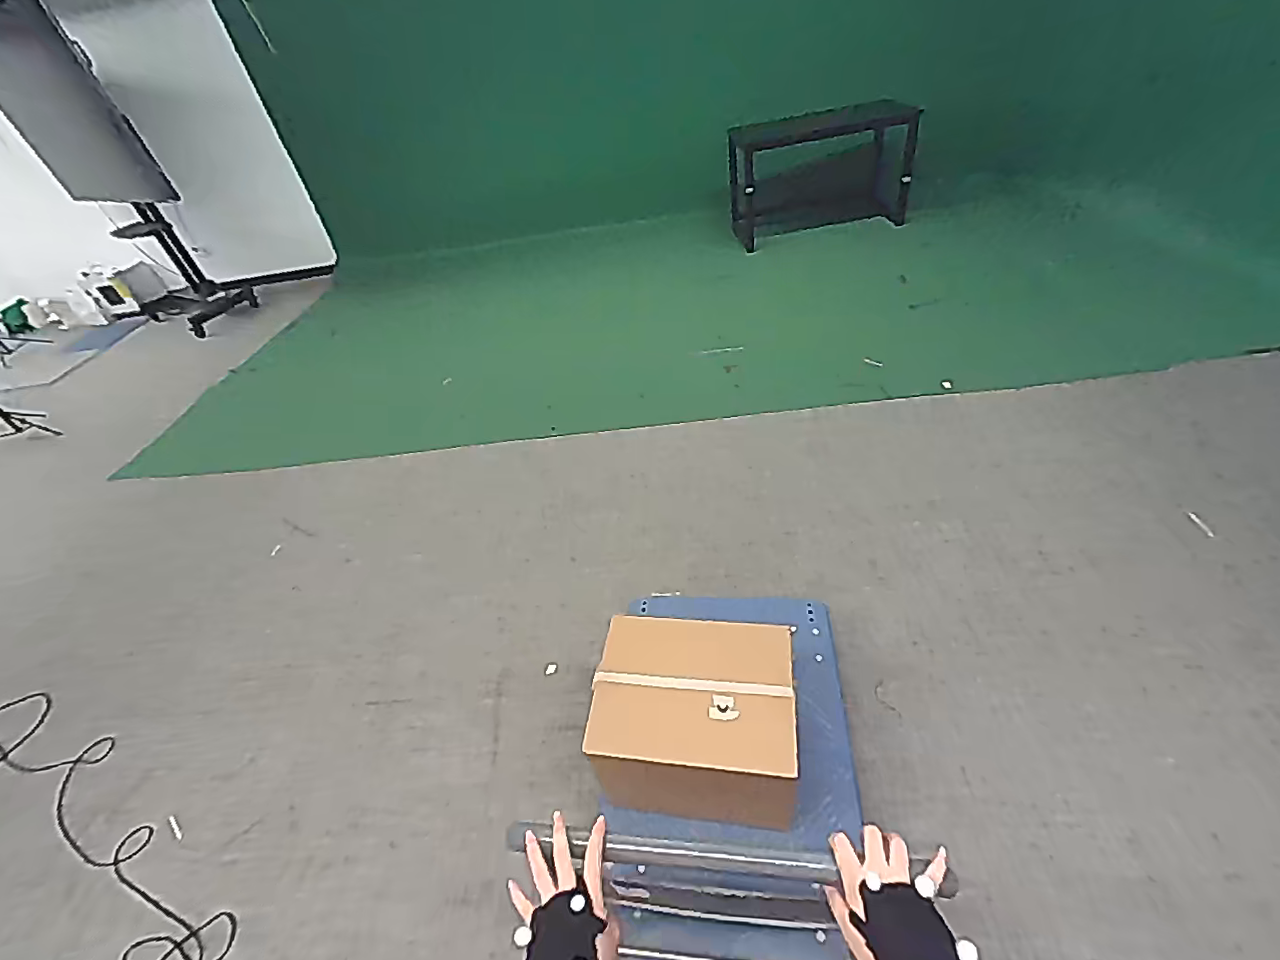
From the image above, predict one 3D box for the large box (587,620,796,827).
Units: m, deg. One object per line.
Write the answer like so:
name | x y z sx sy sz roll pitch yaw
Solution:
large box | 0.125 0.544 1.224 0.408 0.320 0.320 1 42 11
